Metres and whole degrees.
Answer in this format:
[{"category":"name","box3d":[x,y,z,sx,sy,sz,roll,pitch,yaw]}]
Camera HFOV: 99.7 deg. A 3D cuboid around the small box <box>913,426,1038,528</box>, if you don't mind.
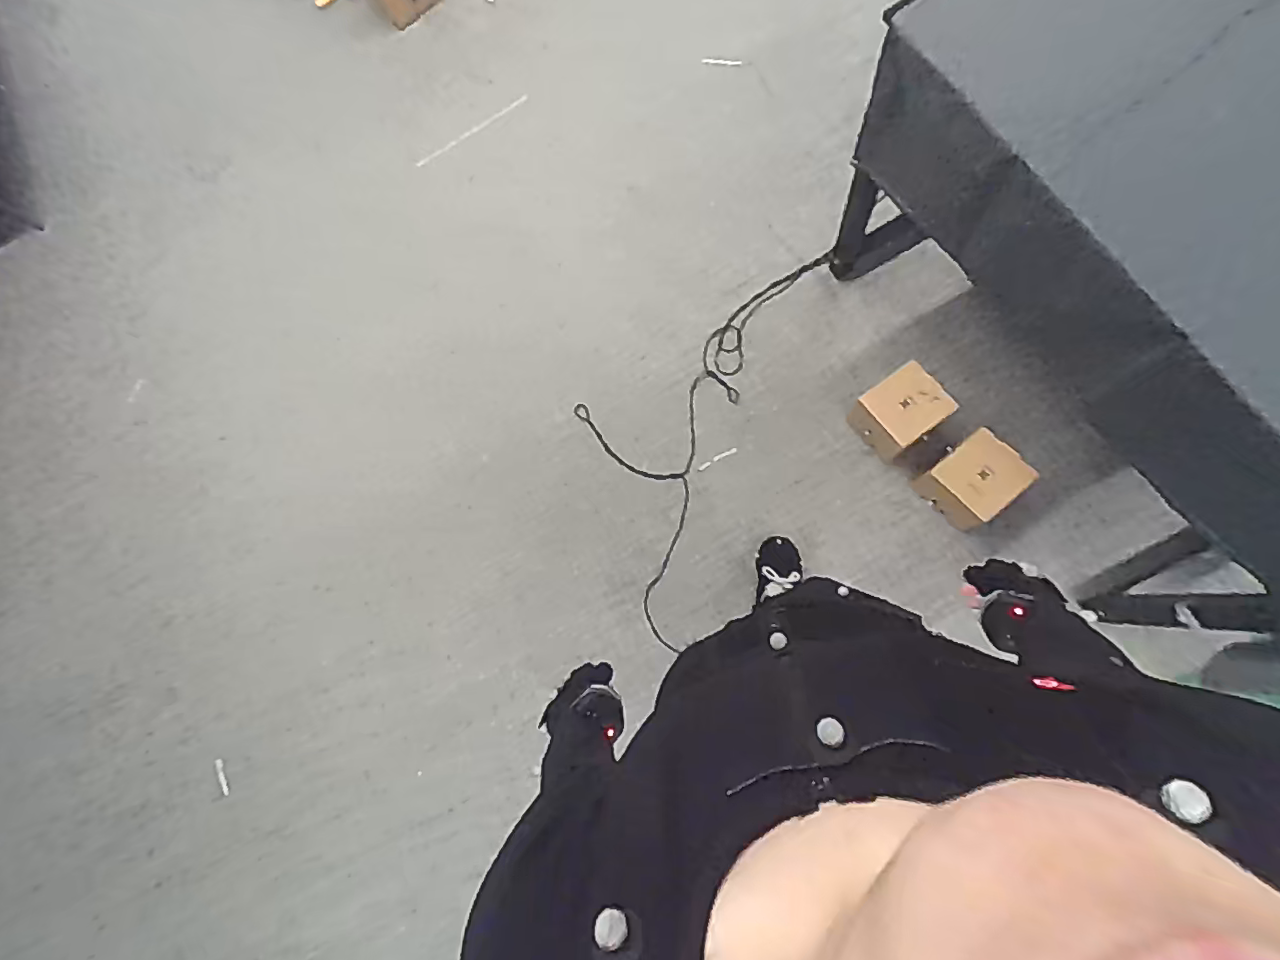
[{"category":"small box","box3d":[0.824,-0.001,1.352,0.179,0.176,0.168,-40,75,-1]}]
